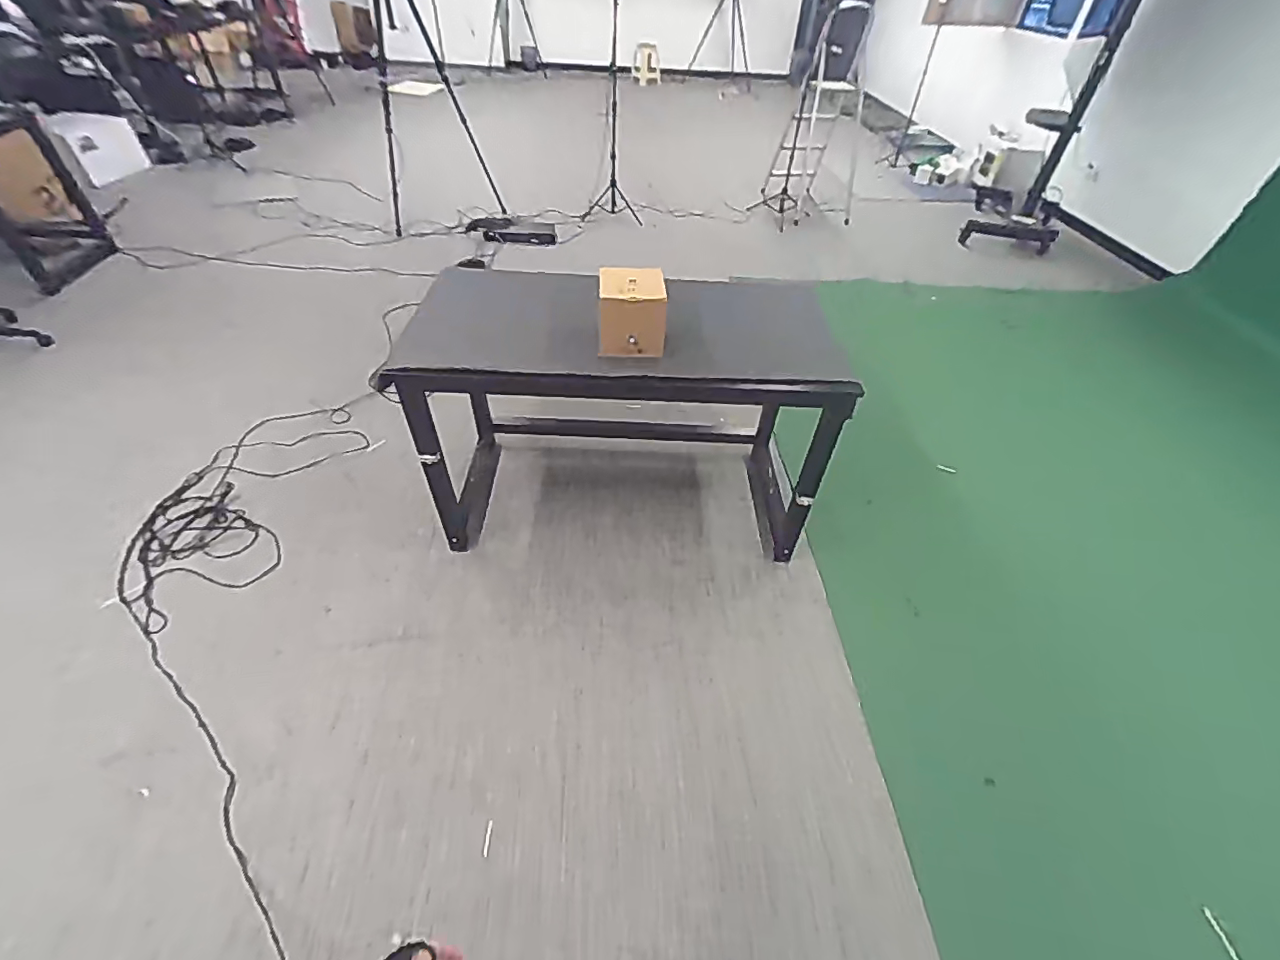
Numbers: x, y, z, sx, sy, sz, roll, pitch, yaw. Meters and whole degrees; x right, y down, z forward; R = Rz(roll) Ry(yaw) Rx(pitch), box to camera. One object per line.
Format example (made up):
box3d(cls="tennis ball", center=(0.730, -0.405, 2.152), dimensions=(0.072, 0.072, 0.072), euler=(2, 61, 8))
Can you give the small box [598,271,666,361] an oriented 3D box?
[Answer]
box3d(cls="small box", center=(-0.026, -0.433, 1.426), dimensions=(0.168, 0.176, 0.179), euler=(-1, 44, -4))
